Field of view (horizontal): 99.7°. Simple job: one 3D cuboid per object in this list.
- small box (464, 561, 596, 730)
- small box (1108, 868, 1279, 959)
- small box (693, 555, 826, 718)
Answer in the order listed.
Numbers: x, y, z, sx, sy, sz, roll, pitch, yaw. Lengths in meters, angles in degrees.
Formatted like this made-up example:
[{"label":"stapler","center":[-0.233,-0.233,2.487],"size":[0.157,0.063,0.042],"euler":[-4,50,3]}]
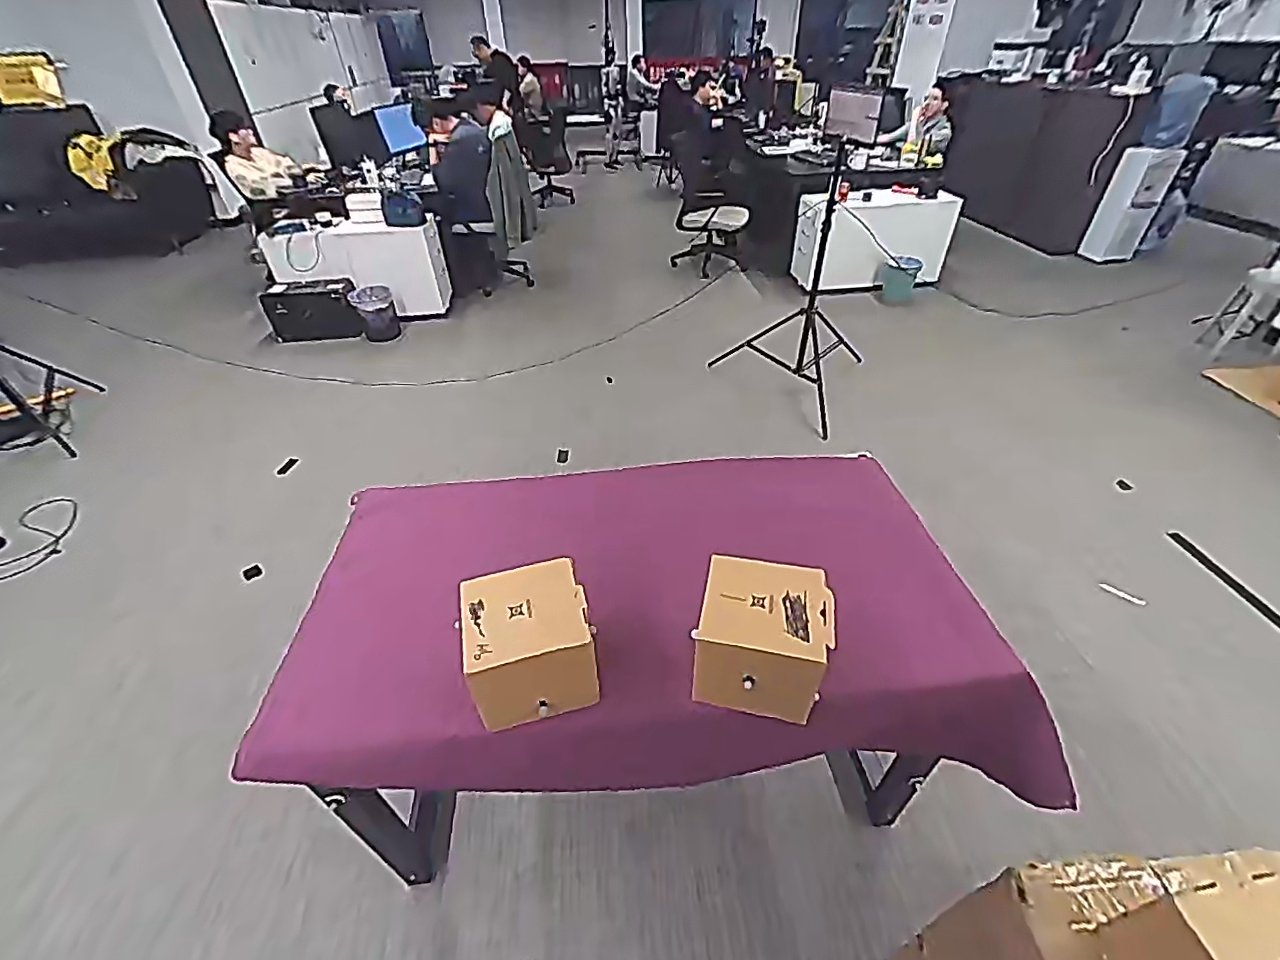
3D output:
[{"label":"small box","center":[-0.168,0.255,0.842],"size":[0.179,0.176,0.168],"euler":[-11,39,-12]},{"label":"small box","center":[0.685,0.564,0.594],"size":[0.168,0.176,0.179],"euler":[-8,41,-4]},{"label":"small box","center":[0.183,0.244,0.841],"size":[0.179,0.176,0.168],"euler":[7,39,12]}]
